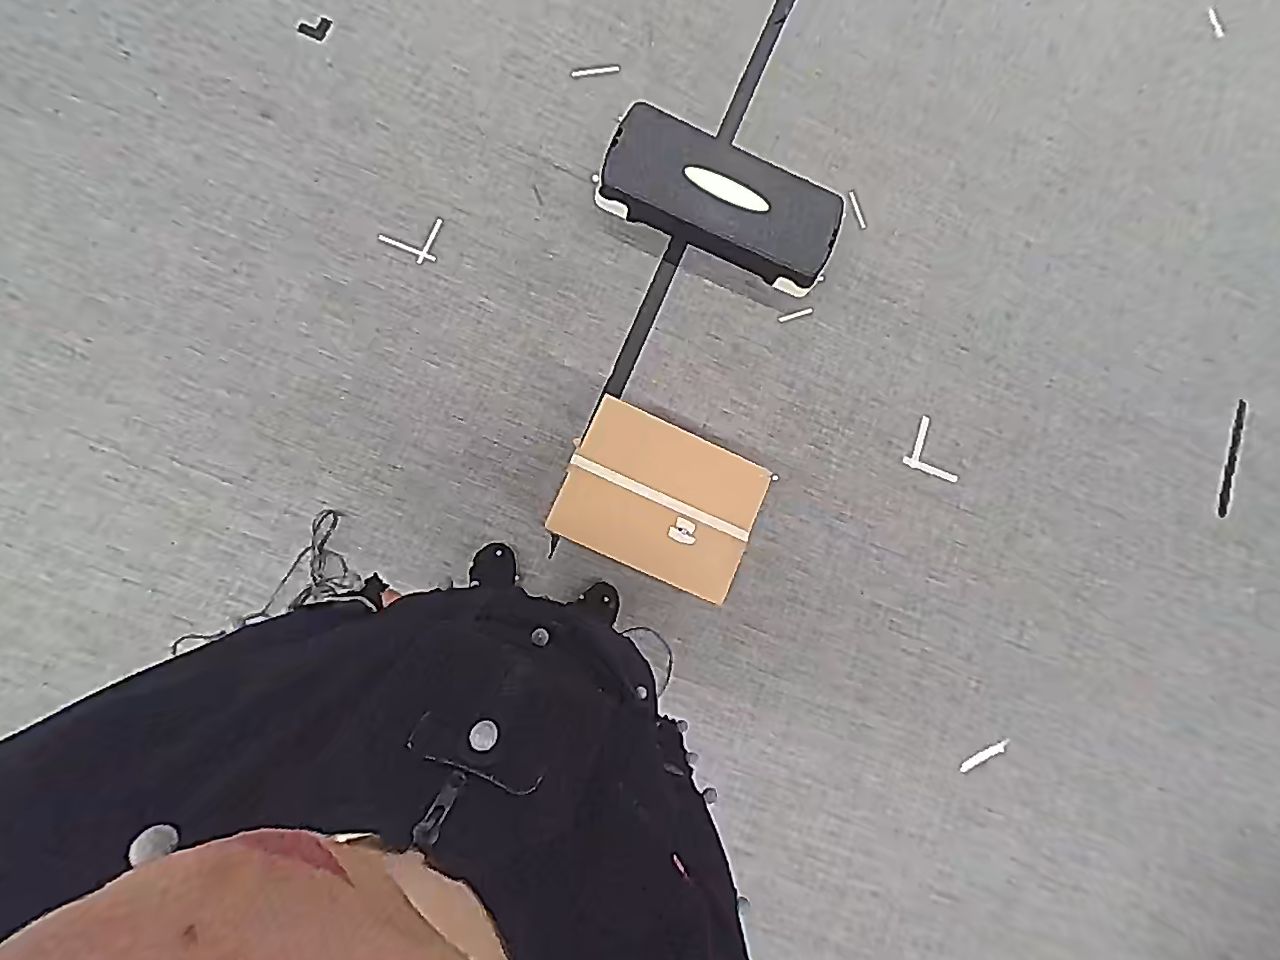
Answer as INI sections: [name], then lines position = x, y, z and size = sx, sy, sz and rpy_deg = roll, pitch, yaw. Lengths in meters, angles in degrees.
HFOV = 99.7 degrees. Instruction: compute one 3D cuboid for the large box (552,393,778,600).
[large box]
position = 0.035, 0.049, 1.258
size = 0.408, 0.320, 0.320
rpy_deg = 25, 81, -5
